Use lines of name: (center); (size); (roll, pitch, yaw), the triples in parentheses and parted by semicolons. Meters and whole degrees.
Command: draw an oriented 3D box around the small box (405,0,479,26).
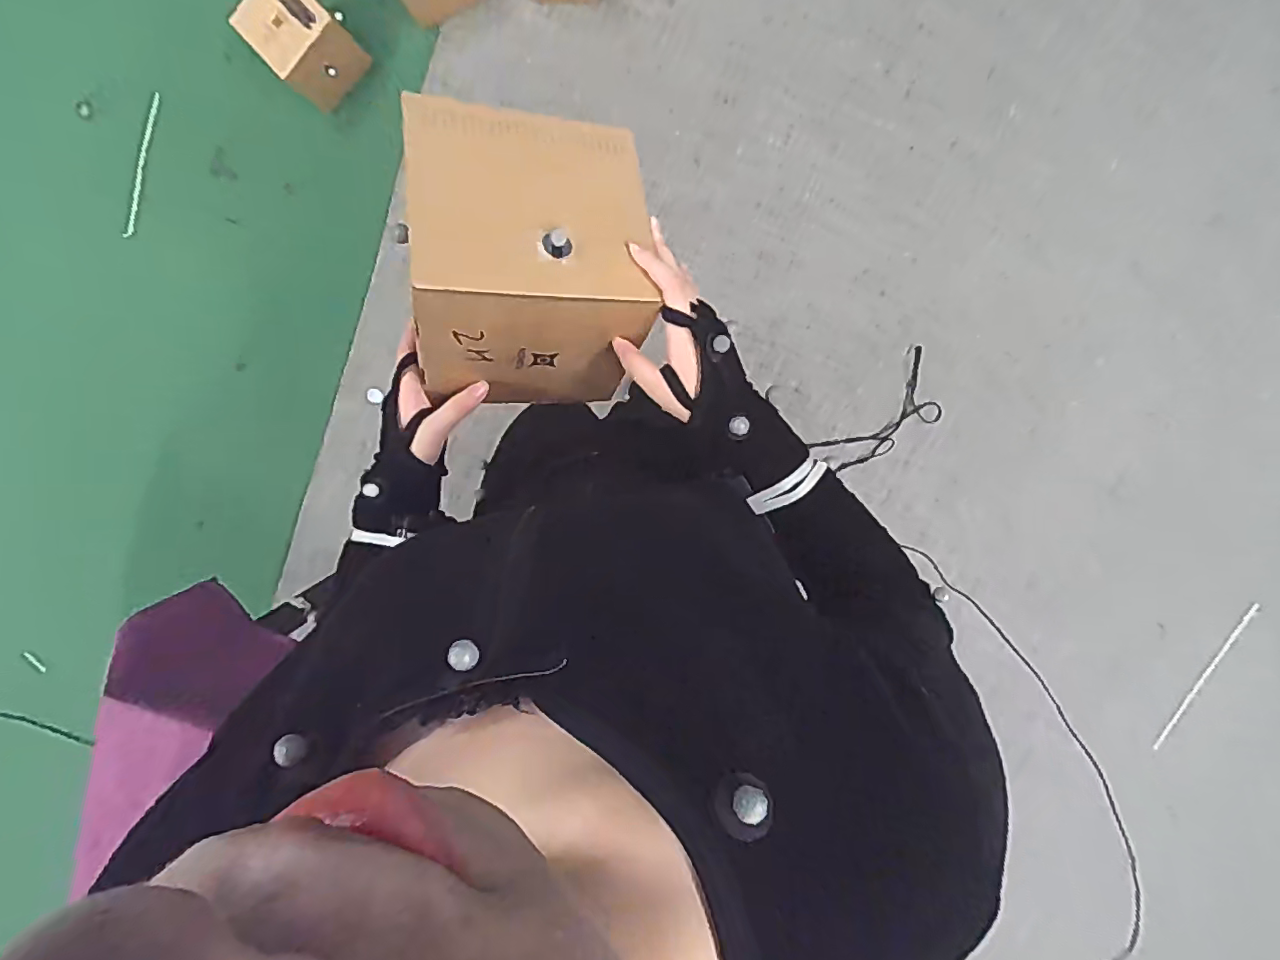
small box: (-0.475, -1.175, 1.203); (0.179, 0.176, 0.168); (-21, 99, 7)

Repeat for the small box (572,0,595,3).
small box: (-0.177, -1.192, 1.179); (0.168, 0.176, 0.179); (6, 102, 3)
